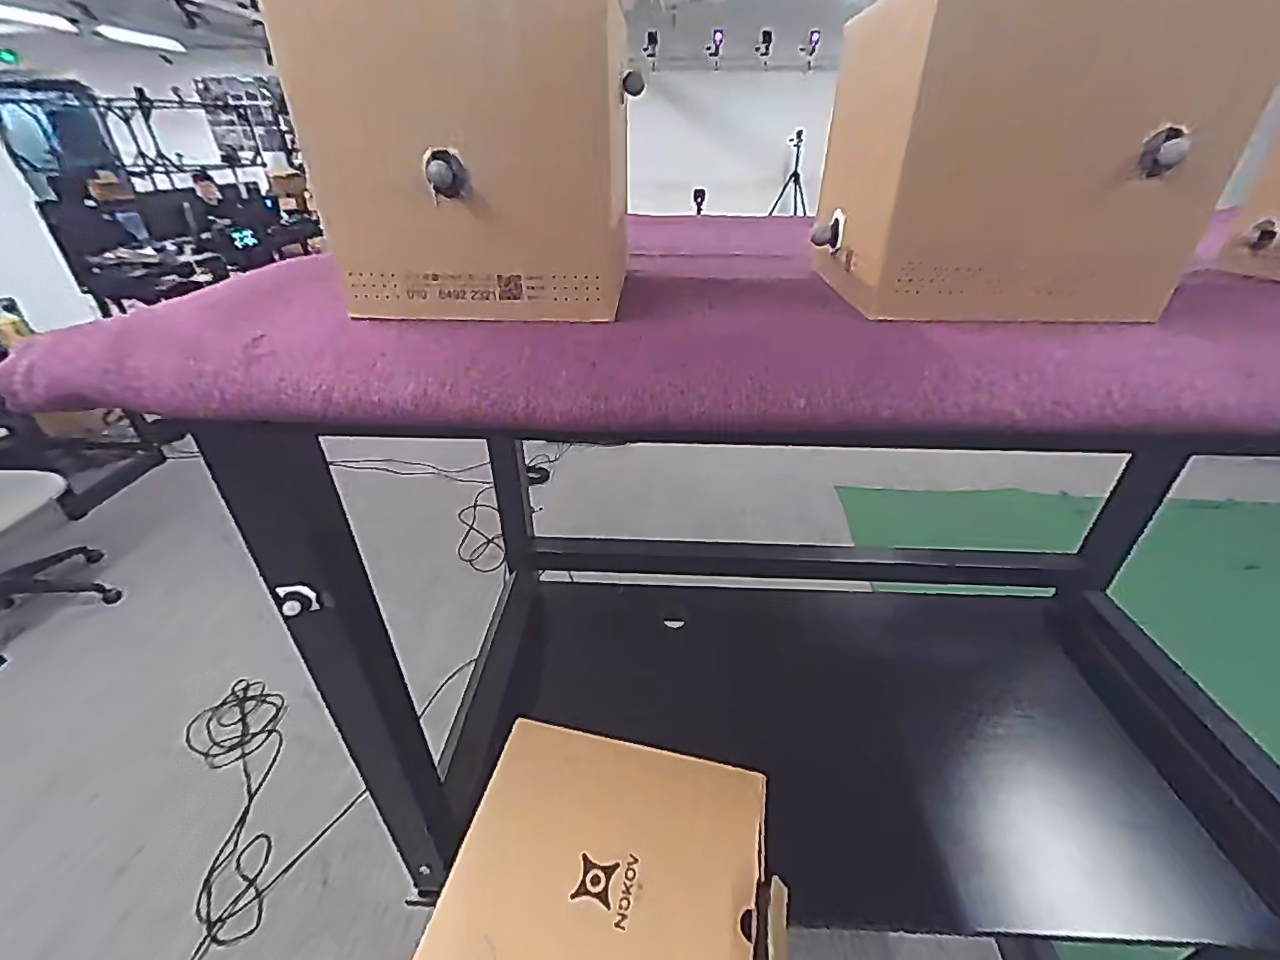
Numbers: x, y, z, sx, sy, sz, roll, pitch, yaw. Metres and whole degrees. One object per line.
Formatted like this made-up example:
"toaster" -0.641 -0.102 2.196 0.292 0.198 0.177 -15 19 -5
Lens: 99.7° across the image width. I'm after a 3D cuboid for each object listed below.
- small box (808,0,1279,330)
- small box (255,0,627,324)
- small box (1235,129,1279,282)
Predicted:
"small box" 0.226 -0.203 0.355 0.179 0.176 0.168 0 32 2
"small box" -0.095 -0.209 0.358 0.168 0.176 0.179 2 33 1
"small box" 0.575 -0.210 0.360 0.179 0.176 0.168 2 30 3
